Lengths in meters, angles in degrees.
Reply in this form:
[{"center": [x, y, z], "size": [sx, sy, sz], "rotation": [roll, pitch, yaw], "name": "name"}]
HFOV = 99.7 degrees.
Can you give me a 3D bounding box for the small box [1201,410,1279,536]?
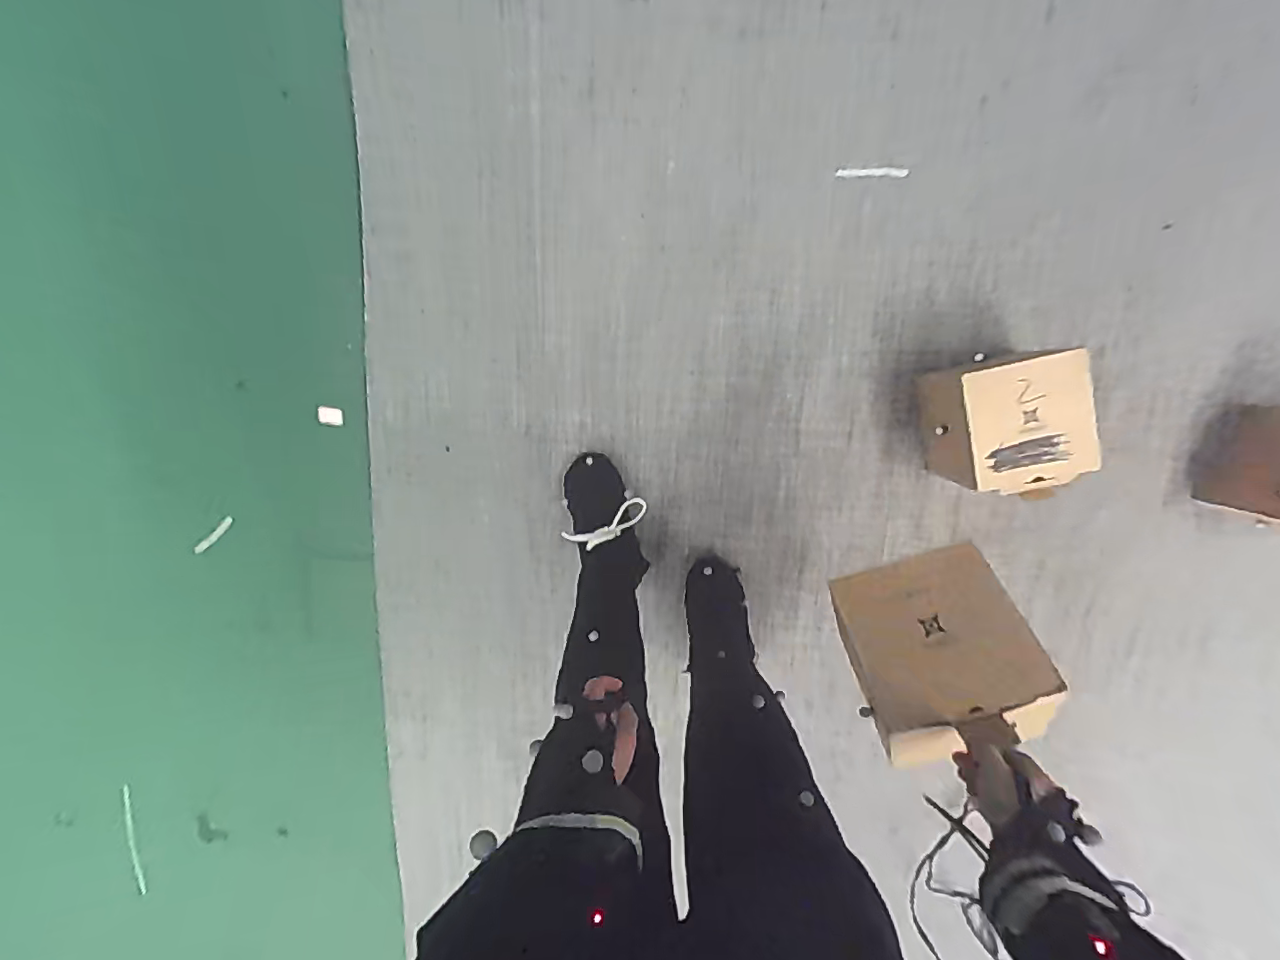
[{"center": [1.026, 0.003, 0.810], "size": [0.168, 0.176, 0.179], "rotation": [21, 102, 1], "name": "small box"}]
